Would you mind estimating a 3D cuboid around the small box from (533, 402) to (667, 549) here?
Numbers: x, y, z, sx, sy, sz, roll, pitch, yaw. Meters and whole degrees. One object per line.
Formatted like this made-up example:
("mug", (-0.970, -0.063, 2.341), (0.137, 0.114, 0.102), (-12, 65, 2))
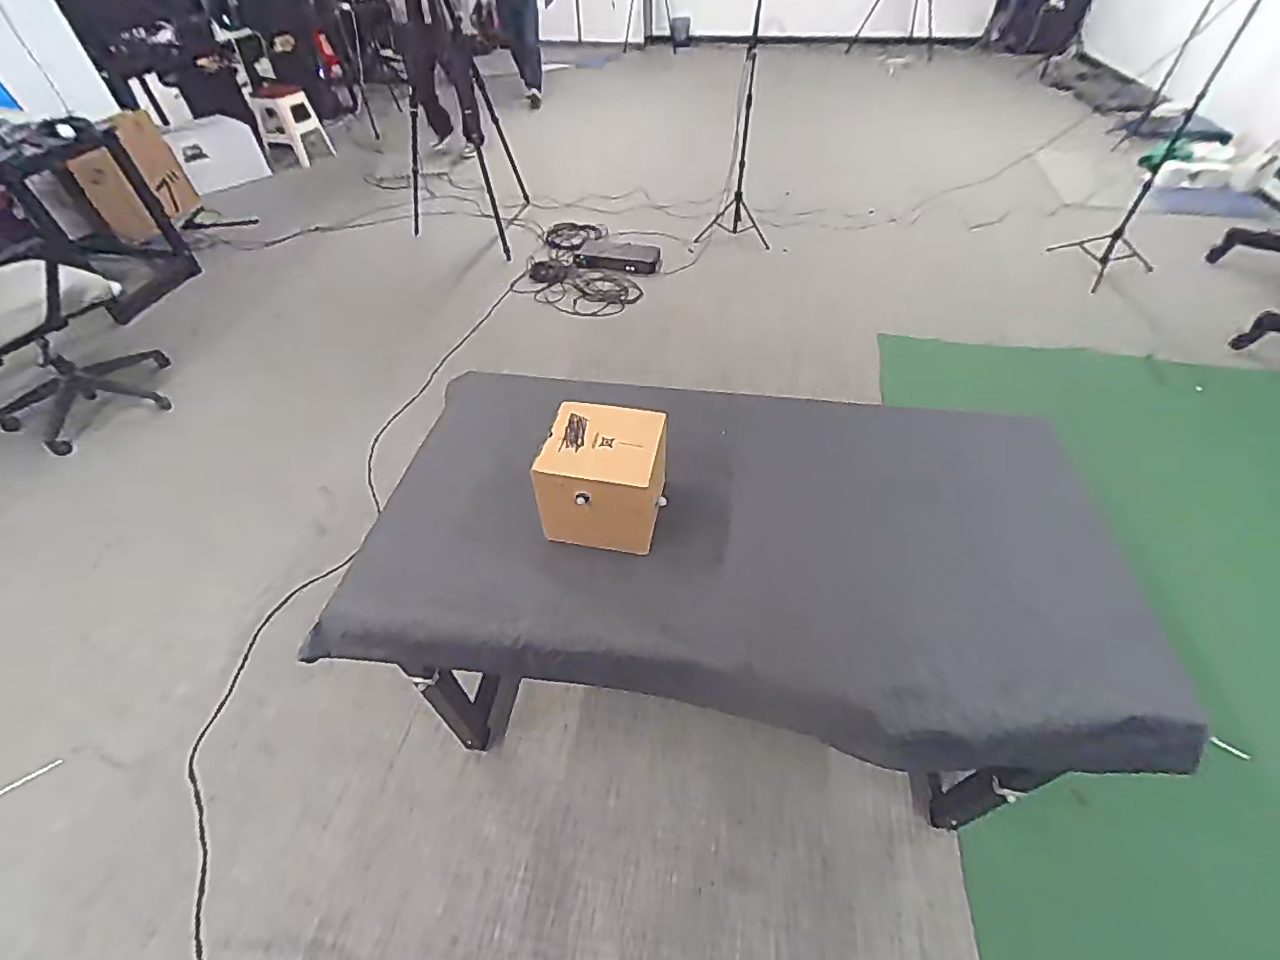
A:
("small box", (-0.057, -0.005, 0.886), (0.179, 0.176, 0.168), (8, 48, 8))
